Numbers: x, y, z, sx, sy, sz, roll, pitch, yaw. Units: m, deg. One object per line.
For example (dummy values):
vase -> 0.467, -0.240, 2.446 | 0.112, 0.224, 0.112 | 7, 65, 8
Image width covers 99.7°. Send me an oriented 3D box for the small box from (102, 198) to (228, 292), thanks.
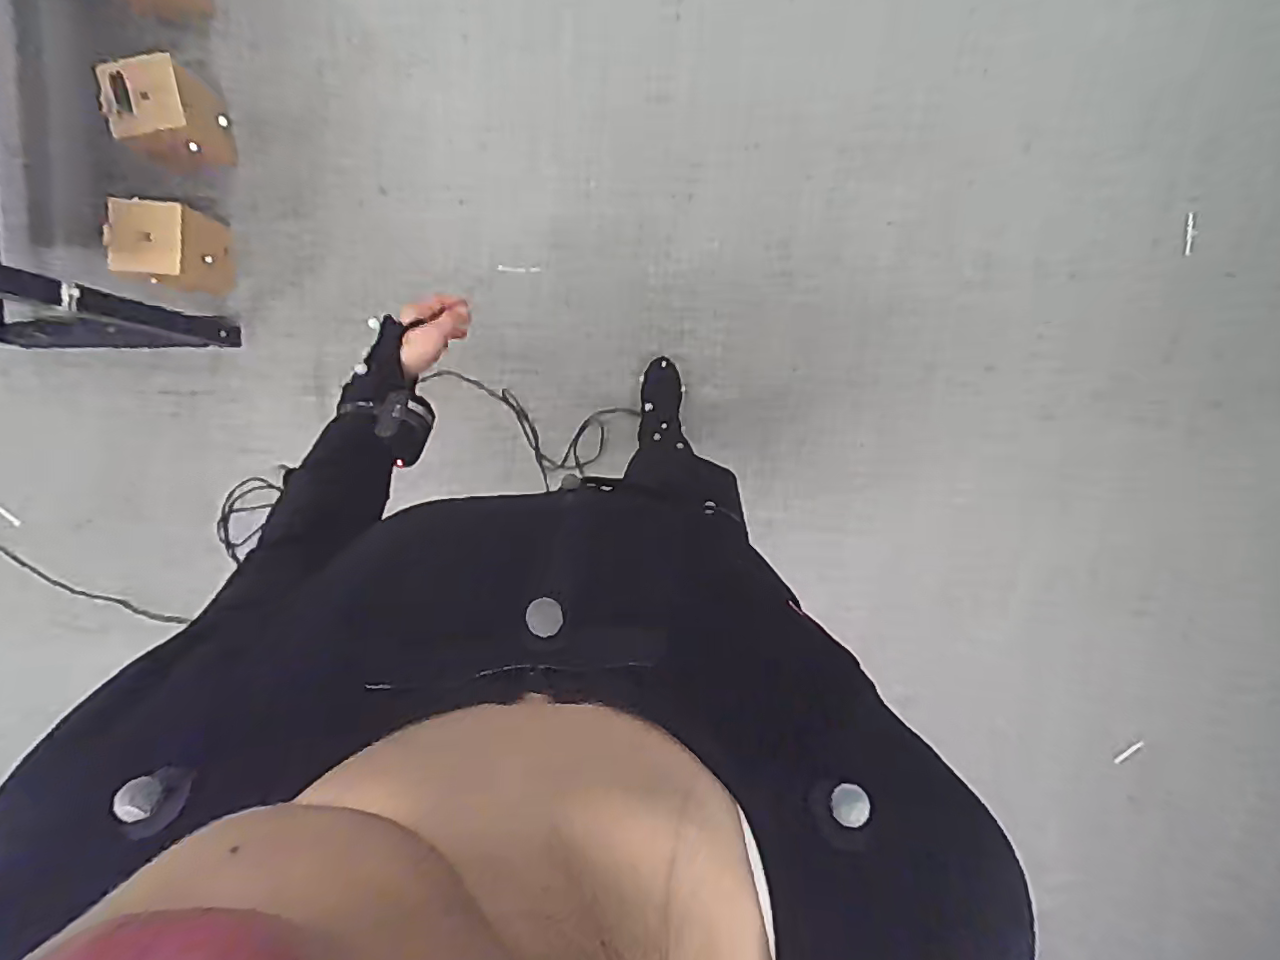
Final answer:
small box -> -1.161, -0.570, 1.333 | 0.179, 0.176, 0.168 | 5, 95, 0
